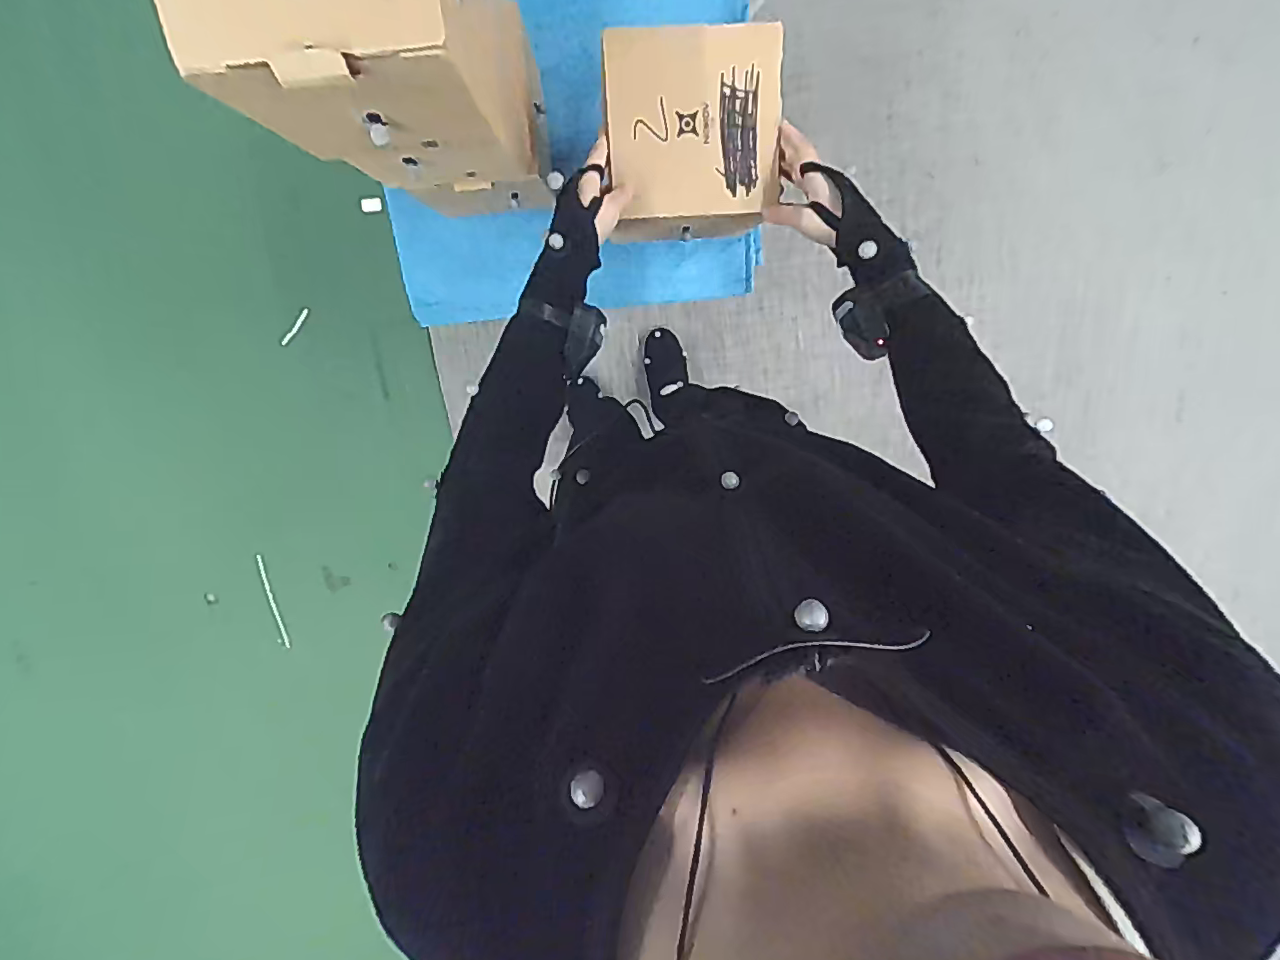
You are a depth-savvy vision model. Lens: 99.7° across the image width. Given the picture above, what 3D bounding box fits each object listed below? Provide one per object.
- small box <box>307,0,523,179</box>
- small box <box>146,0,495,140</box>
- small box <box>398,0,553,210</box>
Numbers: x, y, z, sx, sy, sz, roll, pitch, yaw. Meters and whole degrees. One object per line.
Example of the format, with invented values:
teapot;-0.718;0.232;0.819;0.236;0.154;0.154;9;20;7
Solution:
small box;-0.216;-0.408;0.527;0.168;0.176;0.179;-4;105;-1
small box;-0.206;-0.355;0.372;0.168;0.176;0.179;-4;105;-1
small box;-0.208;-0.453;0.683;0.168;0.176;0.179;-5;105;-1
